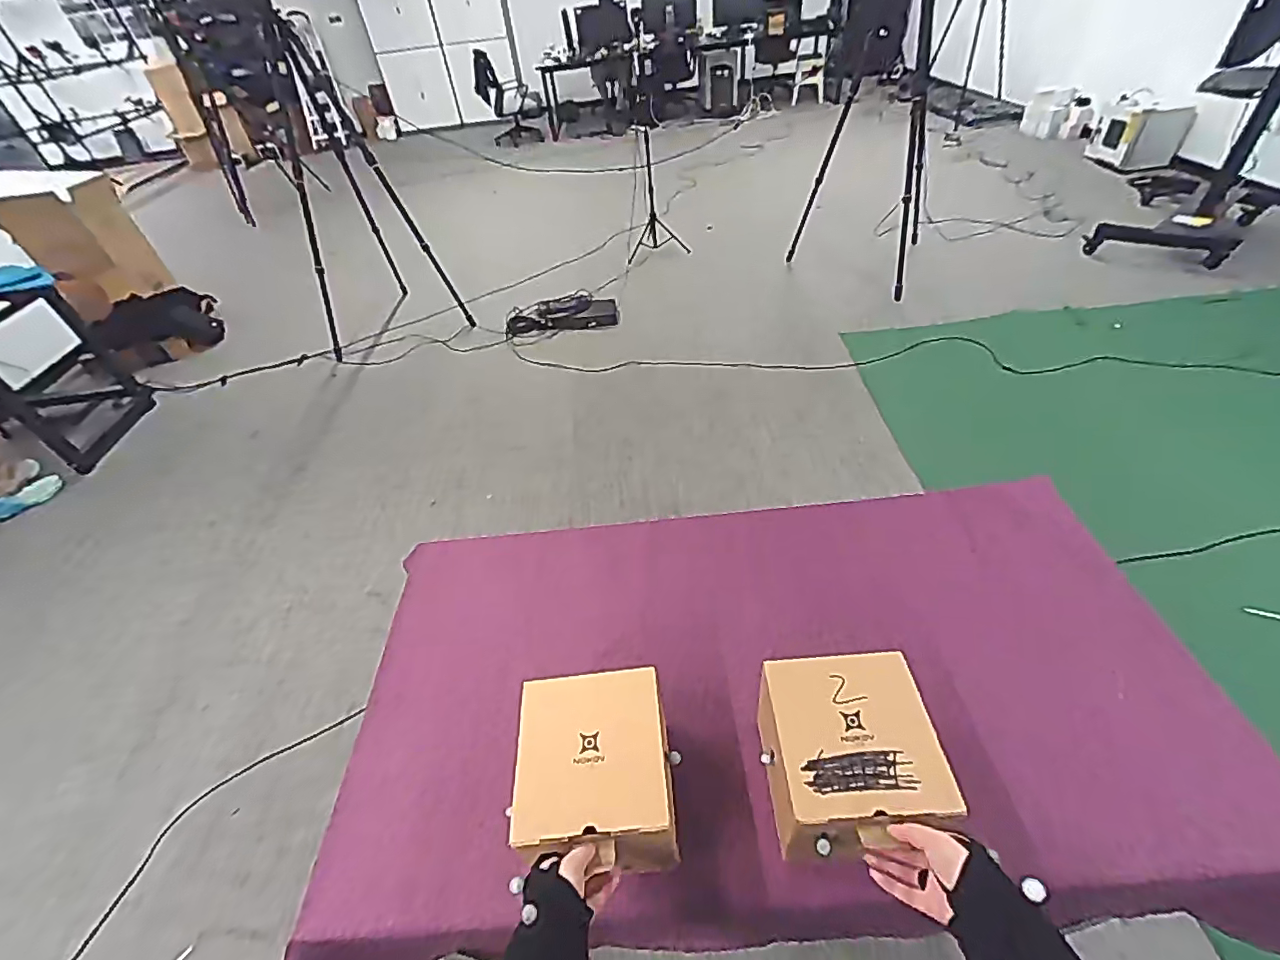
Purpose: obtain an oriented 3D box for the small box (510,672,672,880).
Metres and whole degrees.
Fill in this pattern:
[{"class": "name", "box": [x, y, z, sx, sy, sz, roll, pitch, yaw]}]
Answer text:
[{"class": "small box", "box": [-0.052, 0.366, 0.671, 0.168, 0.176, 0.179, -7, 44, 1]}]
